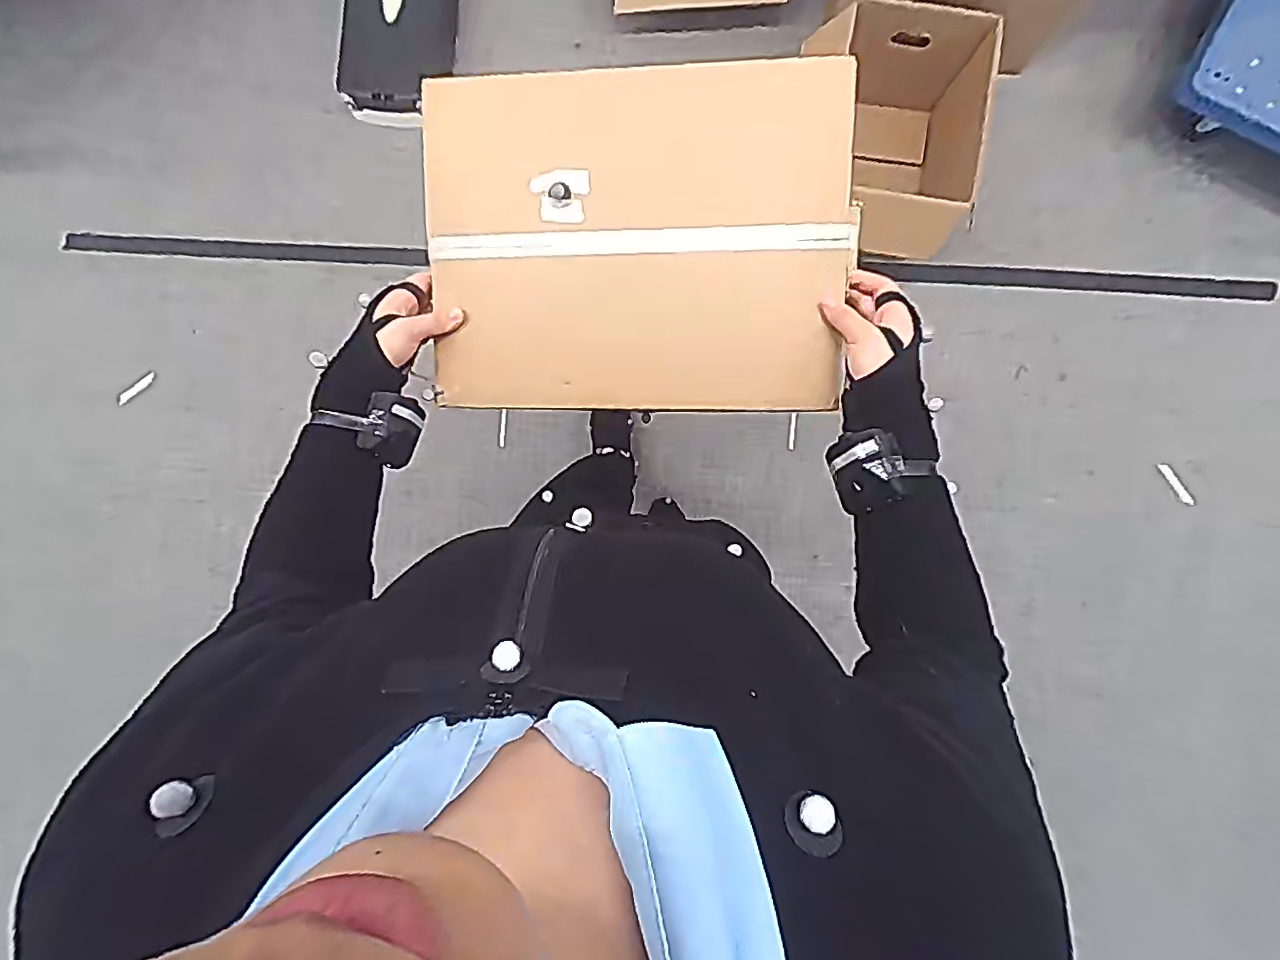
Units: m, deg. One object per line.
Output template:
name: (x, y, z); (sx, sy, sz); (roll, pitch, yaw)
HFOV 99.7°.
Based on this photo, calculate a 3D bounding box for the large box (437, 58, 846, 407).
large box: (0.014, -0.250, 0.678); (0.408, 0.320, 0.320); (1, 96, 7)
